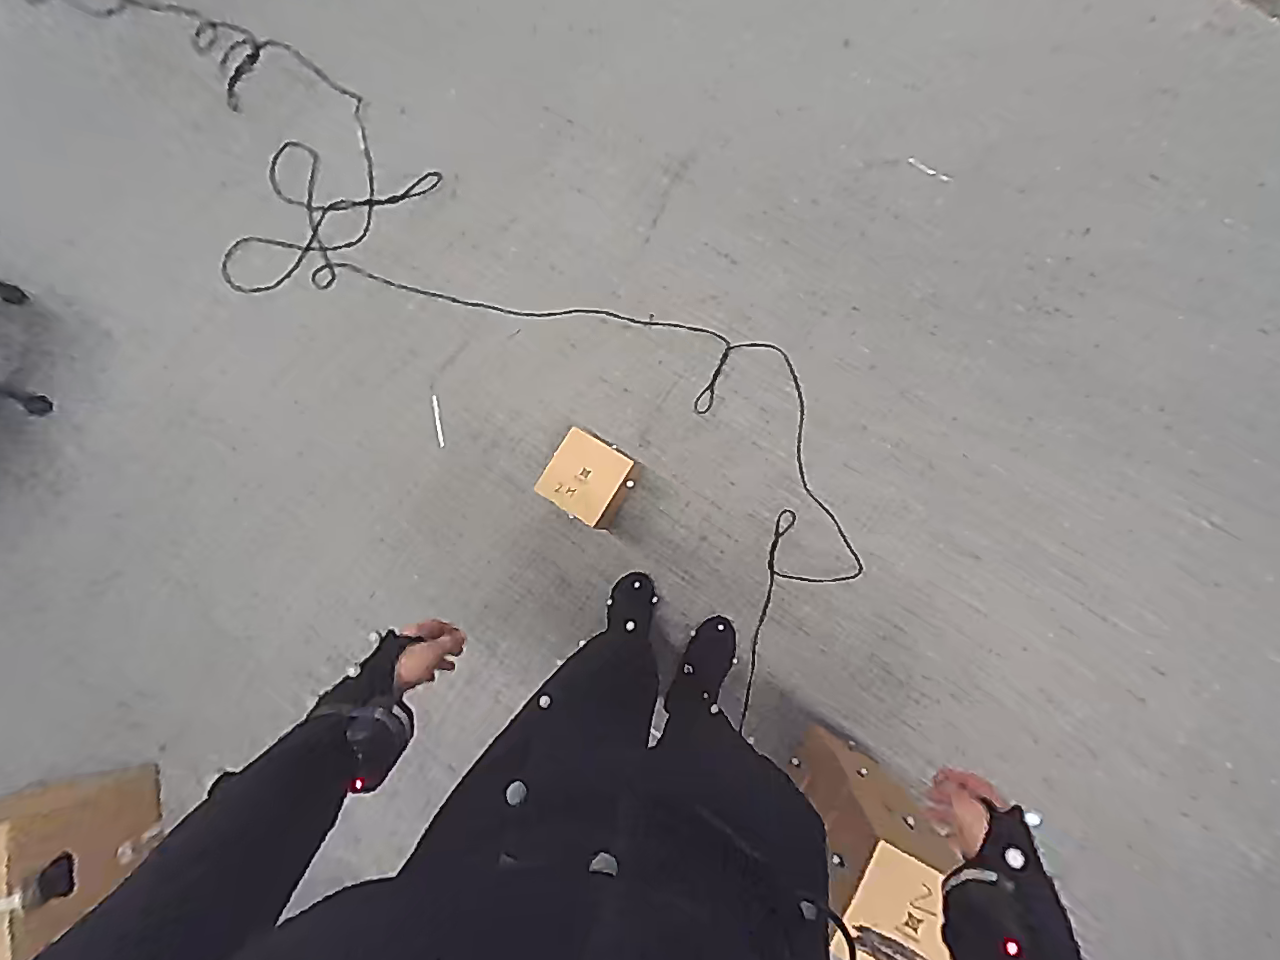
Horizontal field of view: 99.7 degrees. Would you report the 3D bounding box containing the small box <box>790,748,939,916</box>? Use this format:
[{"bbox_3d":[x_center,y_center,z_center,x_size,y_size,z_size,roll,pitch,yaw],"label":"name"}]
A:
[{"bbox_3d":[0.400,0.631,1.001,0.179,0.176,0.168,29,90,7],"label":"small box"}]

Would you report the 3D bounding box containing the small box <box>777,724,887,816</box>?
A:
[{"bbox_3d":[0.414,0.655,1.161,0.179,0.176,0.168,32,90,9],"label":"small box"}]

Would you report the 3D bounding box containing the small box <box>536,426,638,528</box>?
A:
[{"bbox_3d":[-0.116,-0.001,1.283,0.168,0.176,0.179,31,88,9],"label":"small box"}]
